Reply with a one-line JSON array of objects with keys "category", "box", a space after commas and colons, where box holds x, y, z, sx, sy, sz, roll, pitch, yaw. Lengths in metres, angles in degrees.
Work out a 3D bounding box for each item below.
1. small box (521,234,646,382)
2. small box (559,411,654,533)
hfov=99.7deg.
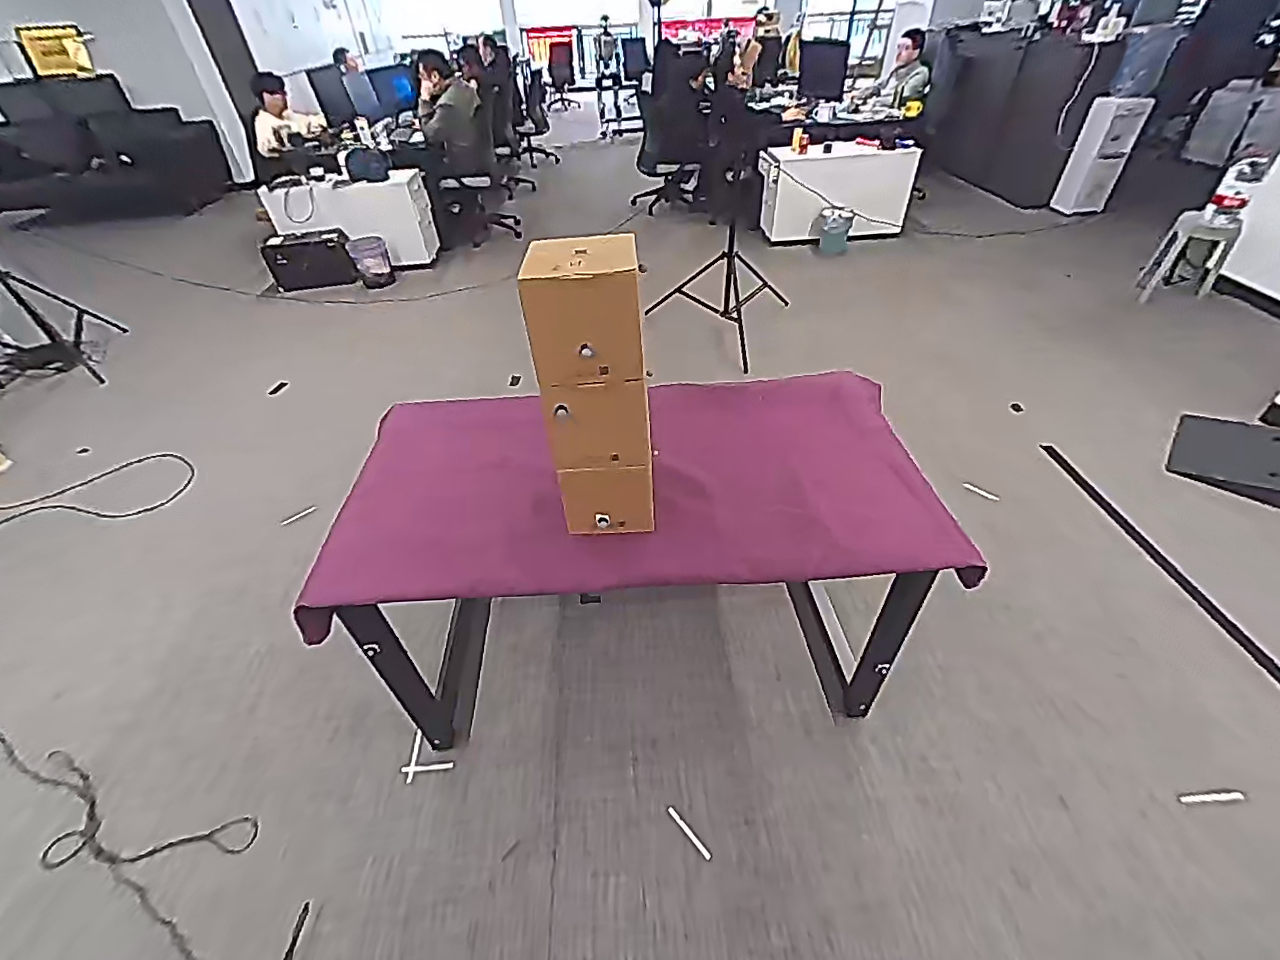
[{"category": "small box", "box": [-0.079, -0.270, 0.847, 0.168, 0.176, 0.179, -4, 40, 1]}, {"category": "small box", "box": [-0.058, -0.016, 1.056, 0.168, 0.176, 0.179, -3, 42, 1]}]
